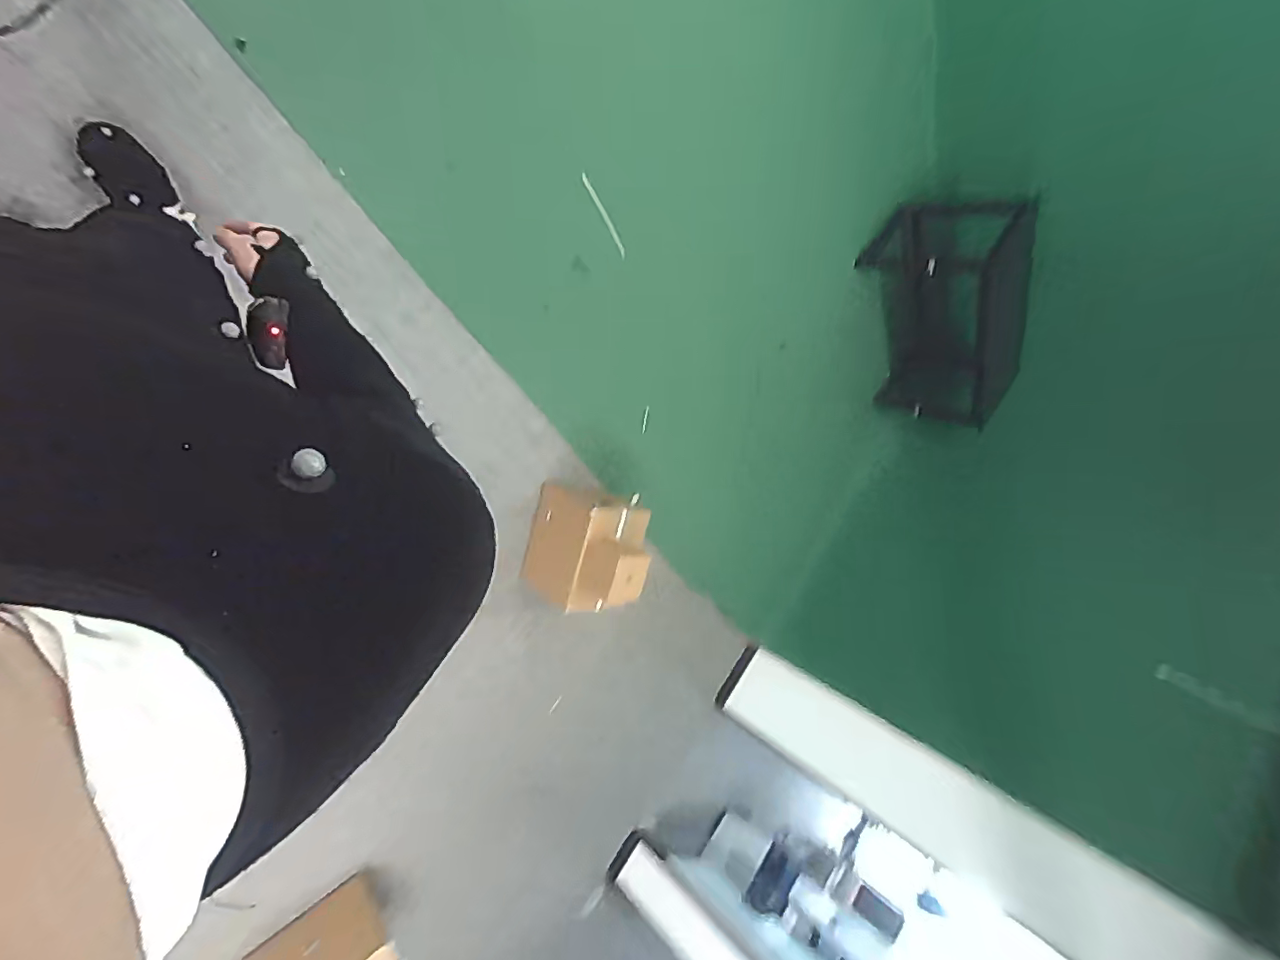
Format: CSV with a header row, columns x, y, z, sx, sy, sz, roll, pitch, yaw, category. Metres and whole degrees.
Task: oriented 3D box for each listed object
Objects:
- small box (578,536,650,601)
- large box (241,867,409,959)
x,y,z,sx,sy,sz,roll,pitch,yaw,category
-0.097,0.311,1.929,0.168,0.176,0.179,6,103,-47,small box
-1.104,1.719,1.920,0.408,0.320,0.320,-27,127,-37,large box
